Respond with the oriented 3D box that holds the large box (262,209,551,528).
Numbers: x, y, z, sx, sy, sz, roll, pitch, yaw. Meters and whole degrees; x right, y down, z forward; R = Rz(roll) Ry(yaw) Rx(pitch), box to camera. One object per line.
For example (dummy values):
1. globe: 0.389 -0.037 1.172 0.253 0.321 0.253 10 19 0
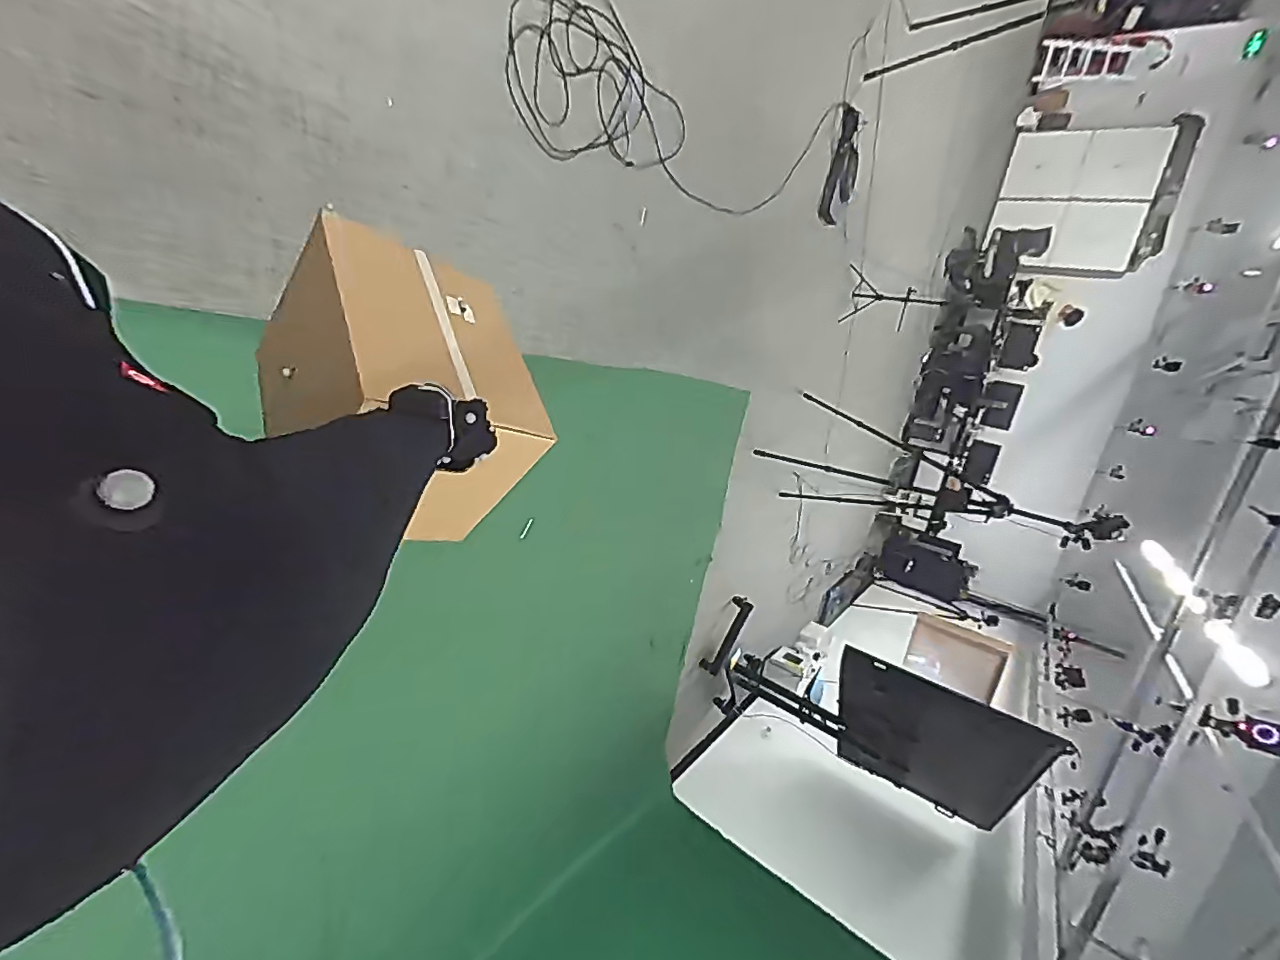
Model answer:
1. large box: -0.419 -0.162 0.940 0.320 0.408 0.320 -41 150 27
